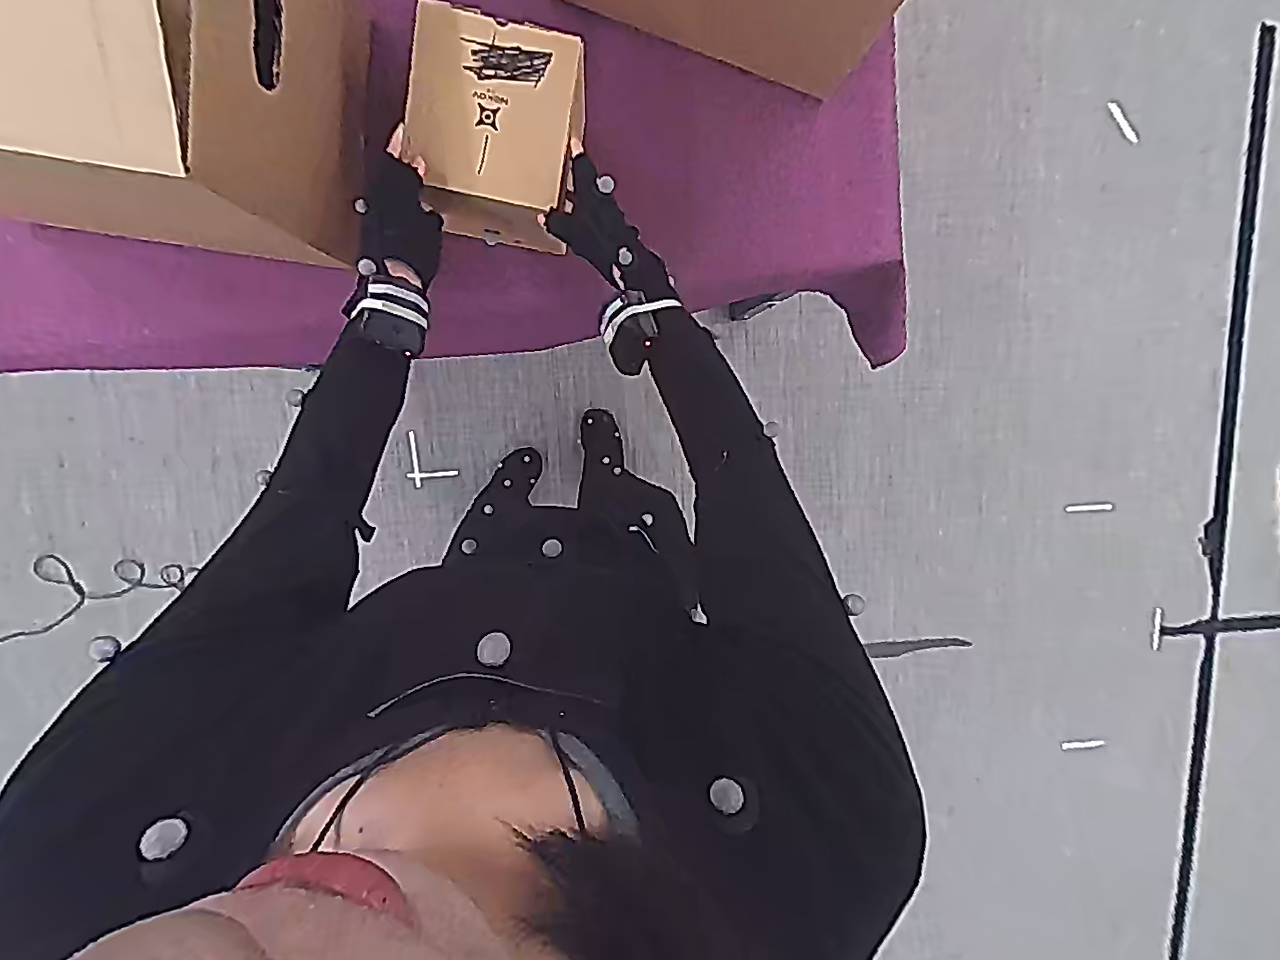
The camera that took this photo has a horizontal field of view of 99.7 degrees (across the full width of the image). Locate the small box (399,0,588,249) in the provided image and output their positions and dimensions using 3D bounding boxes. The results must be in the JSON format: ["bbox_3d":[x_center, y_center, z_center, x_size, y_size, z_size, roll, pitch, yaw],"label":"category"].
[{"bbox_3d":[-0.156,-0.392,0.623,0.168,0.176,0.179,10,97,-6],"label":"small box"}]
